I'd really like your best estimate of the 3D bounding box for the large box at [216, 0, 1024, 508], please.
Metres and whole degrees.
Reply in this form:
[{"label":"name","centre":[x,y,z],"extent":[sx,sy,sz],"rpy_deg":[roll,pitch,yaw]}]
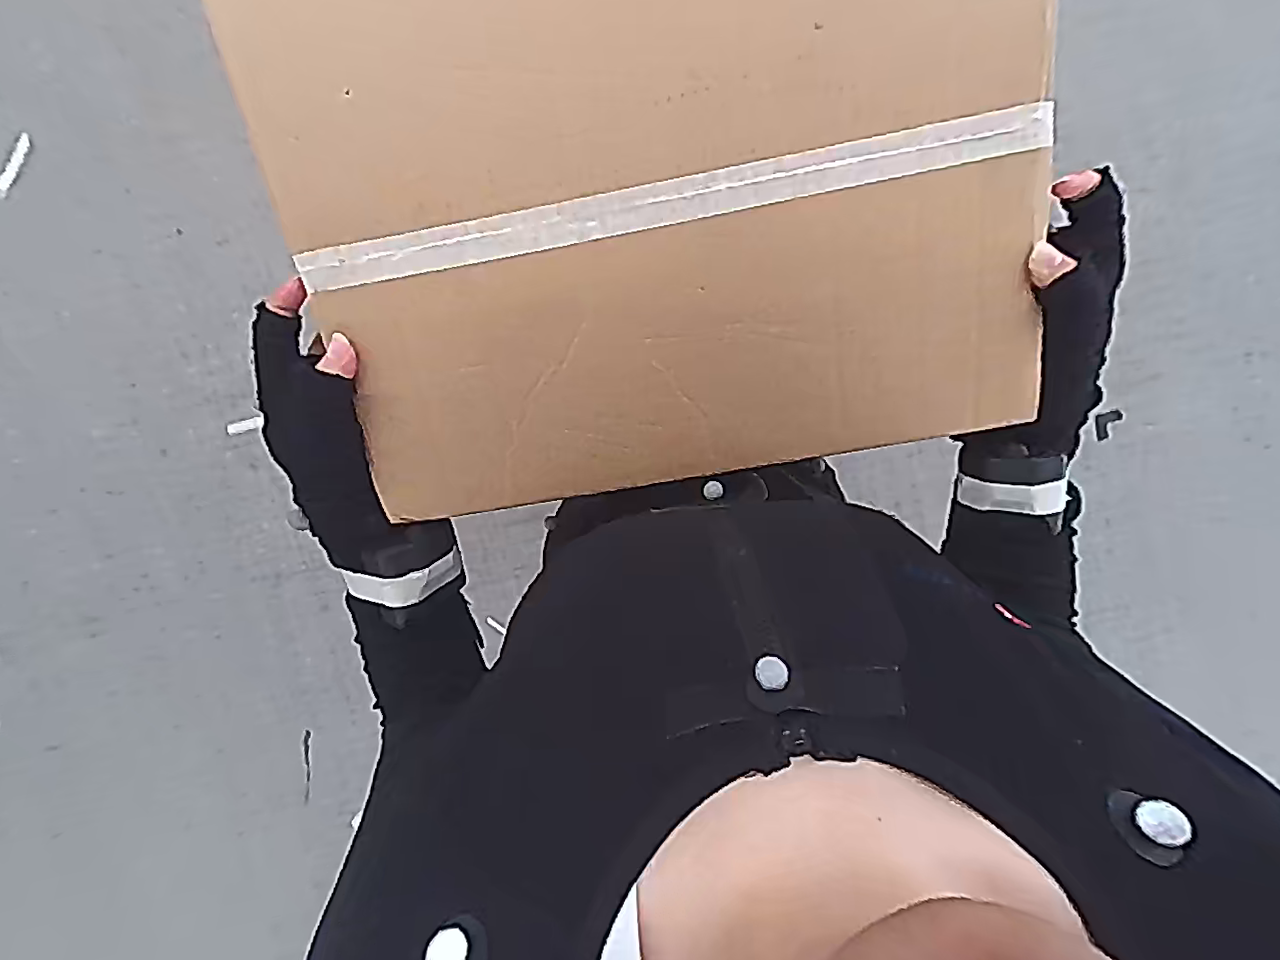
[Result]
[{"label":"large box","centre":[0.008,-0.206,0.440],"extent":[0.408,0.320,0.320],"rpy_deg":[-9,108,4]}]
